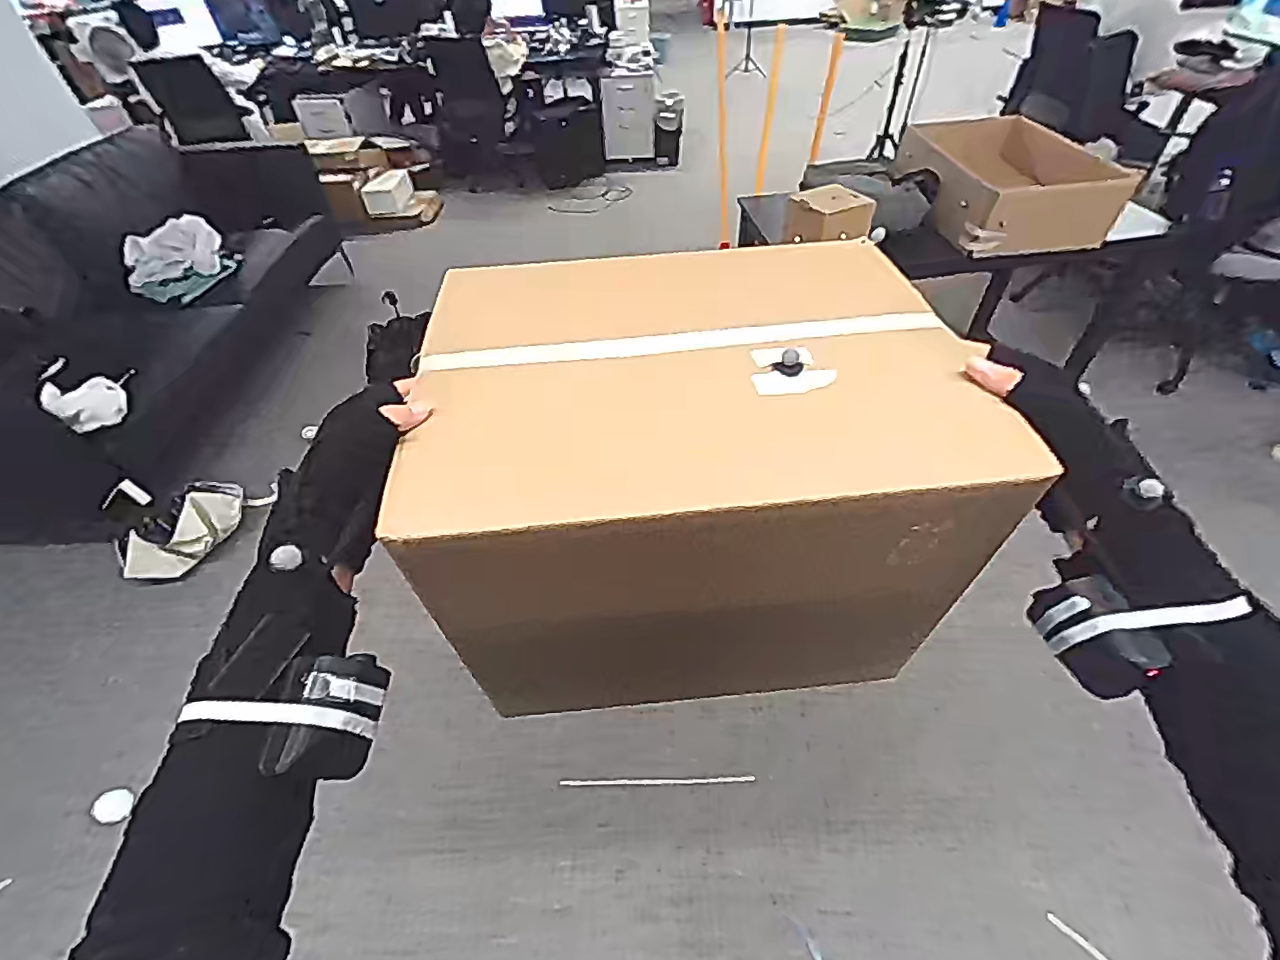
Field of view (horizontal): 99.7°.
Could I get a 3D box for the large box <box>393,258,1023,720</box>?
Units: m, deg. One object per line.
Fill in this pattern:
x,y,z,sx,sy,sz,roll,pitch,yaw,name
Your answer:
0.034,0.010,0.538,0.408,0.320,0.320,-6,49,-3,large box
